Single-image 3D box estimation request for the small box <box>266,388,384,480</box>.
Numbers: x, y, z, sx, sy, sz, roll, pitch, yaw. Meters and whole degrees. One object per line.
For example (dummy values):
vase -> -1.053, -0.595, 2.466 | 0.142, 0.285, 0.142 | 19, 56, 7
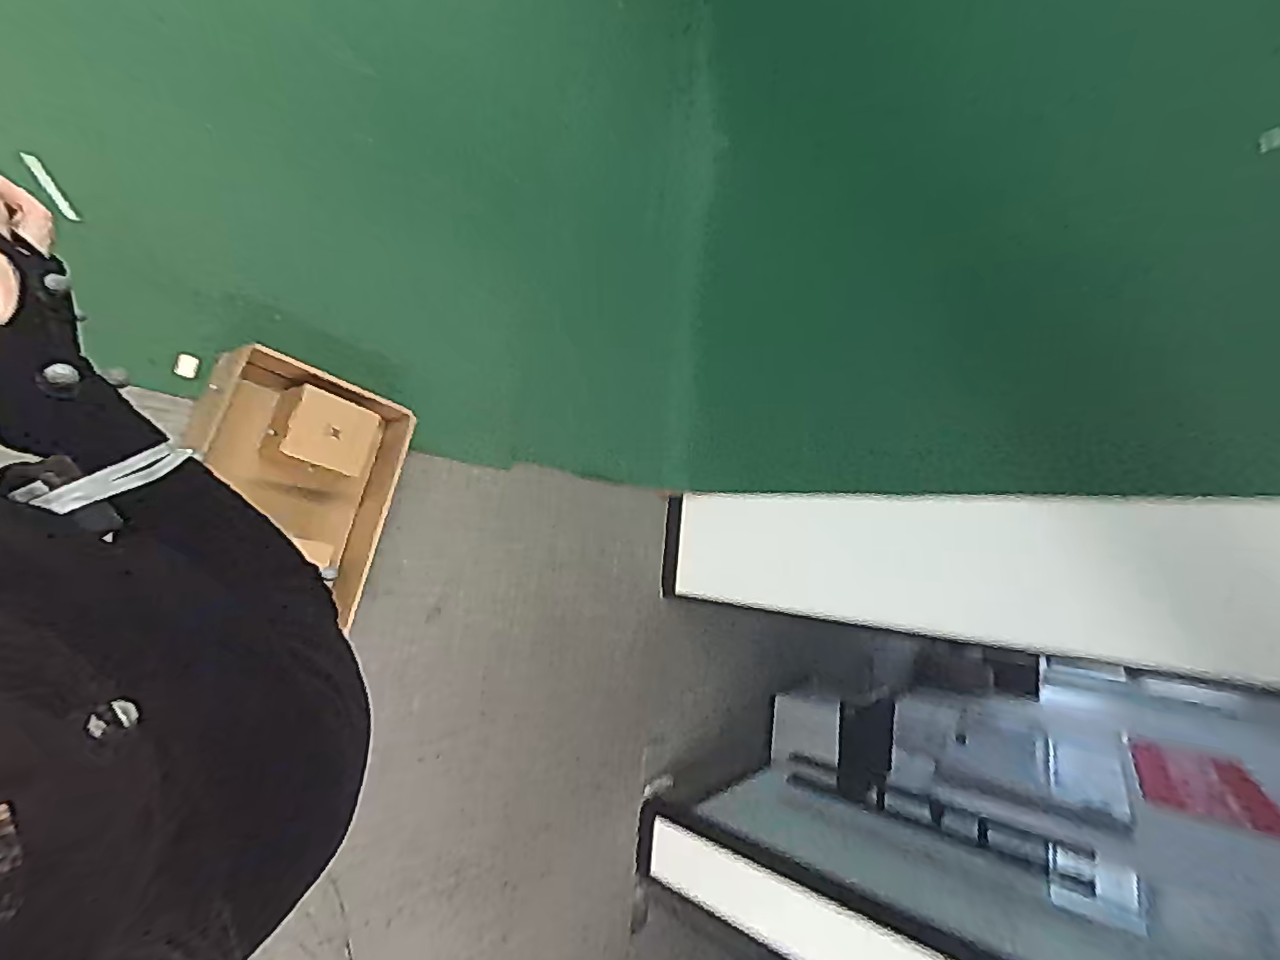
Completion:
small box -> -0.762, -0.104, 1.305 | 0.179, 0.176, 0.168 | 29, 70, -46
